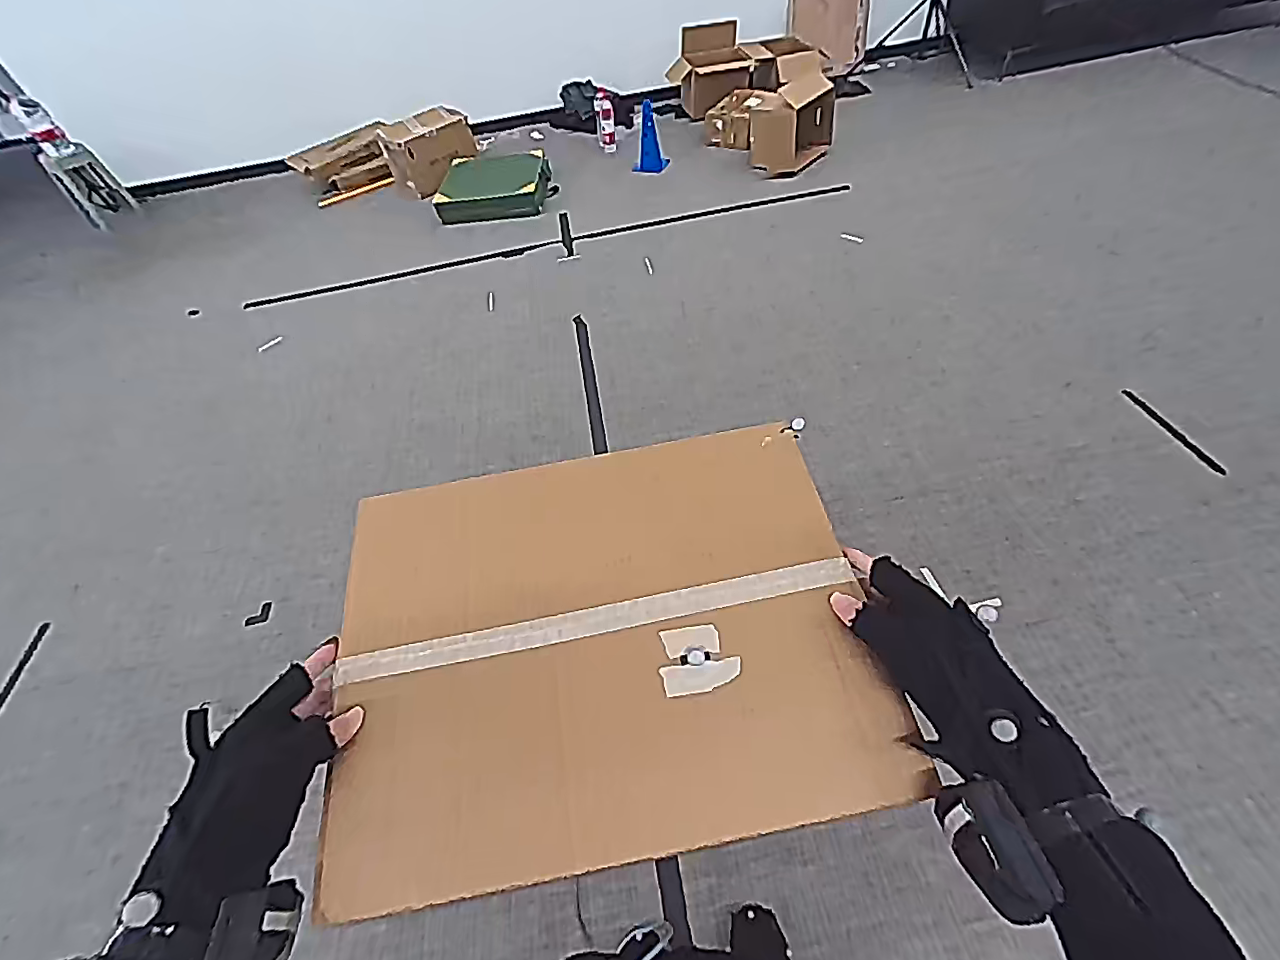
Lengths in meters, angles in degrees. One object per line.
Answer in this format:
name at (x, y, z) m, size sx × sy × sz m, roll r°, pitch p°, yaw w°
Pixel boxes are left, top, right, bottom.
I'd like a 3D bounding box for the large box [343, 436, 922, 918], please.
large box at (-0.018, 0.200, 0.562) m, size 0.408 × 0.320 × 0.320 m, roll -11°, pitch 58°, yaw -2°
